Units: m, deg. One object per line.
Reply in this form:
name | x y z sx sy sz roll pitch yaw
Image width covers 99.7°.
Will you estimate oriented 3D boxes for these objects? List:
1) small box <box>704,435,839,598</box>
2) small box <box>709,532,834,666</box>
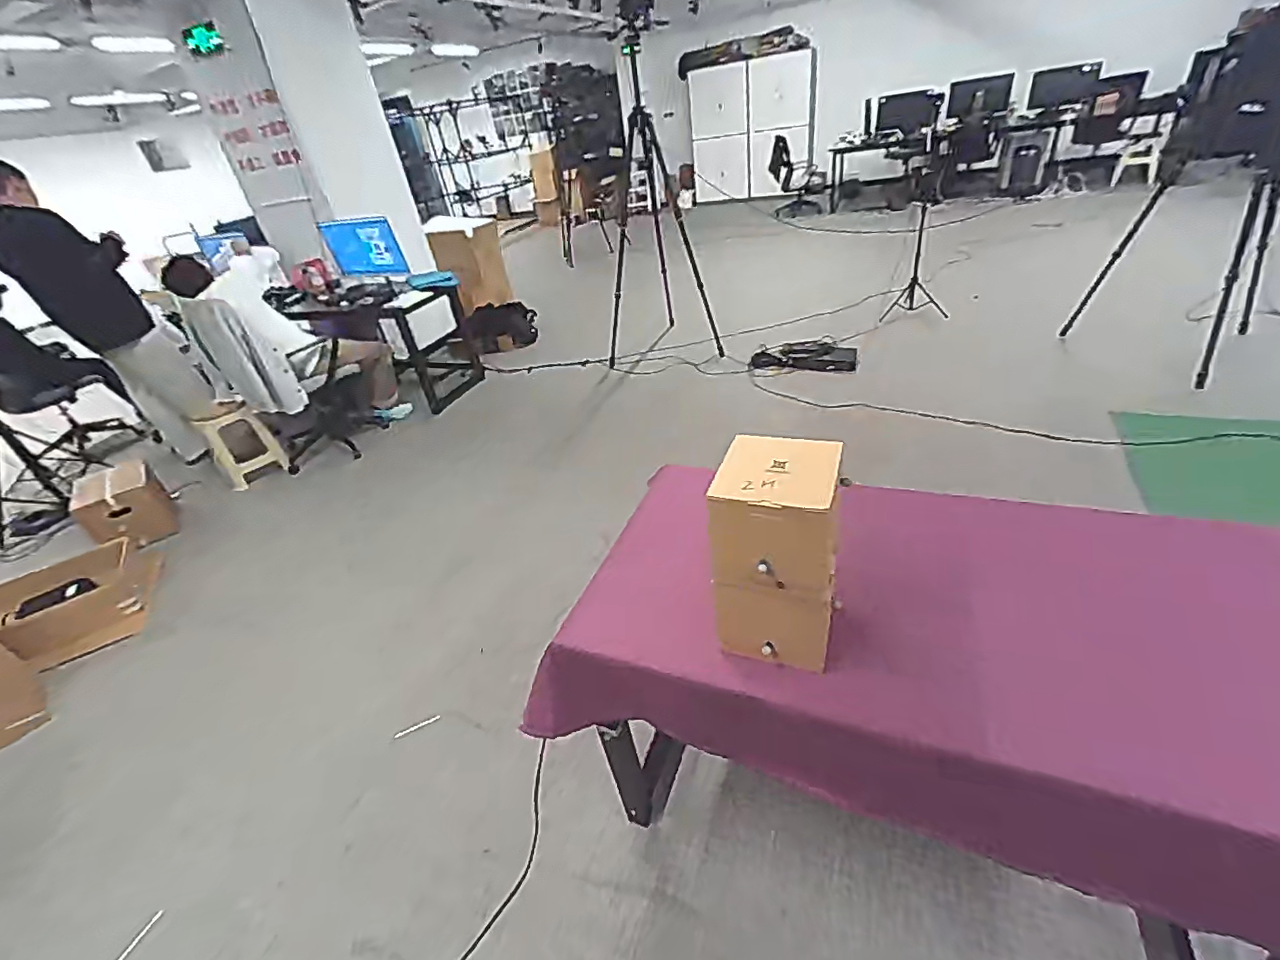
small box | 0.204 0.050 0.829 0.168 0.176 0.179 6 38 23
small box | 0.225 0.188 0.919 0.179 0.176 0.168 6 37 21
